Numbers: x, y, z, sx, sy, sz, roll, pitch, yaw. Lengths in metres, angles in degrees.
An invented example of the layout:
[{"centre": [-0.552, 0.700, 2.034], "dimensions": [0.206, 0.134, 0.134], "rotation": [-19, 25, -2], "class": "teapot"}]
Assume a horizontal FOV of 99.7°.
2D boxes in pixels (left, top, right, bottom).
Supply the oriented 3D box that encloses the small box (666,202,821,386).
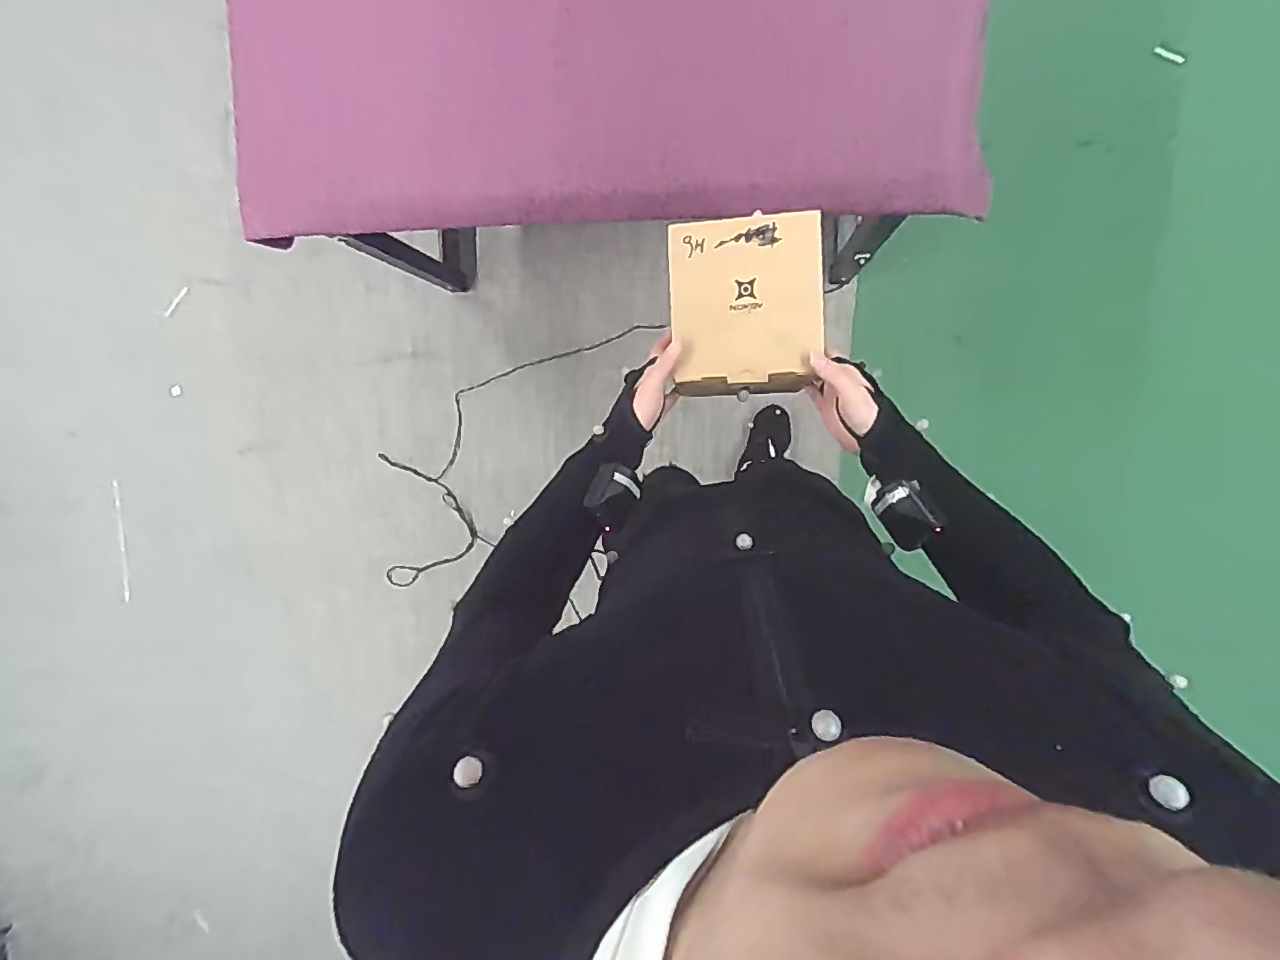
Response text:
[{"centre": [0.125, -0.210, 0.665], "dimensions": [0.168, 0.176, 0.179], "rotation": [-2, 93, 9], "class": "small box"}]
